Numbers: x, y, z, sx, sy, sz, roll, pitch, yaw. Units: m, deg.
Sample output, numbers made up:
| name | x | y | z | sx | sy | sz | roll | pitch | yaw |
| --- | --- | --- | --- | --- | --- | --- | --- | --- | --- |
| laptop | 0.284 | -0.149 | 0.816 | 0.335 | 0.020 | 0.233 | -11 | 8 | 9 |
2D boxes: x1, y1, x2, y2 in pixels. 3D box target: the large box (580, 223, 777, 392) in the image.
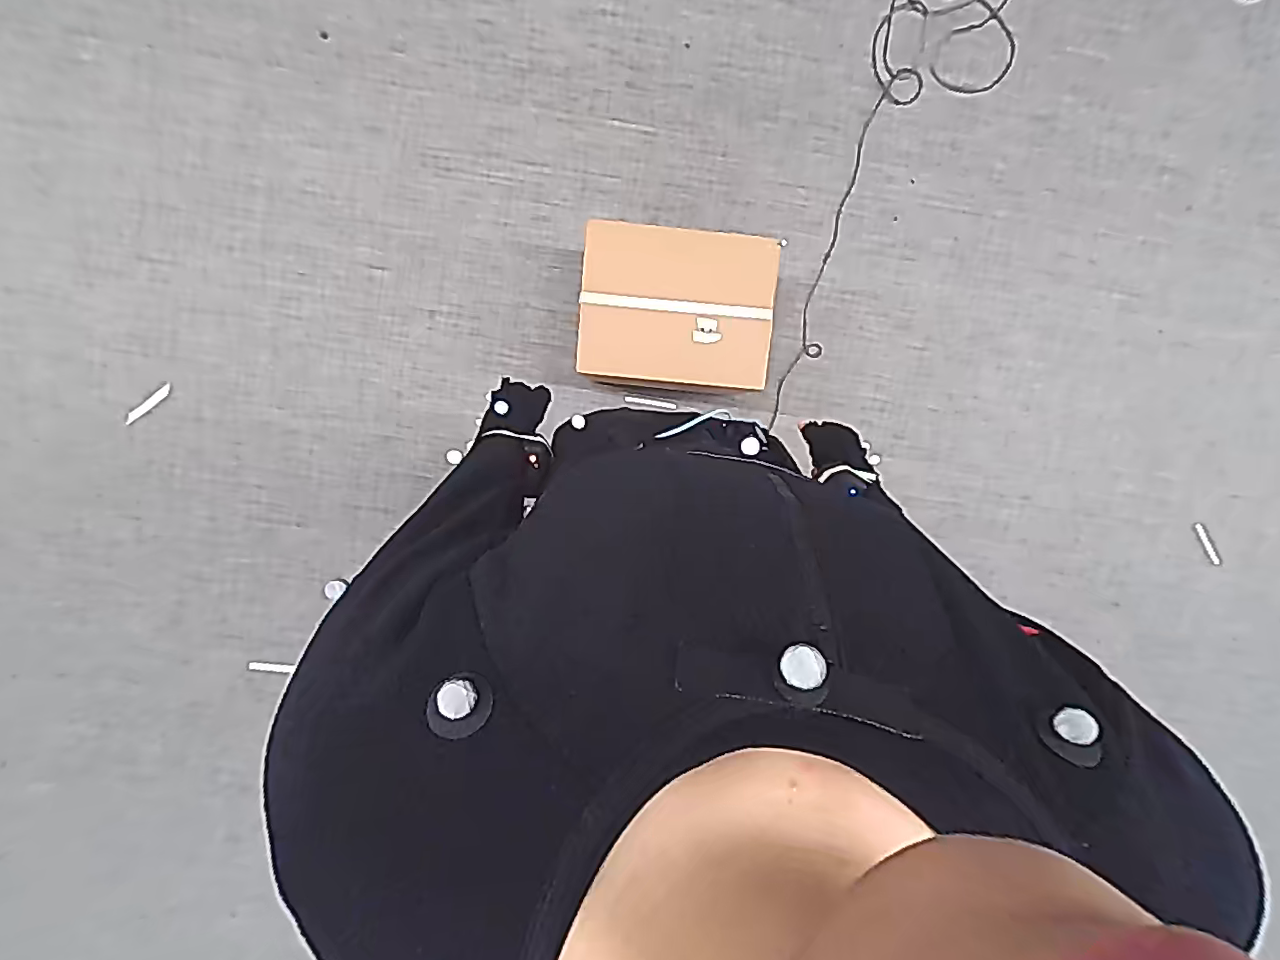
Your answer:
| name | x | y | z | sx | sy | sz | roll | pitch | yaw |
| --- | --- | --- | --- | --- | --- | --- | --- | --- | --- |
| large box | 0.073 | -0.385 | 1.288 | 0.408 | 0.320 | 0.320 | 5 | 98 | -2 |
